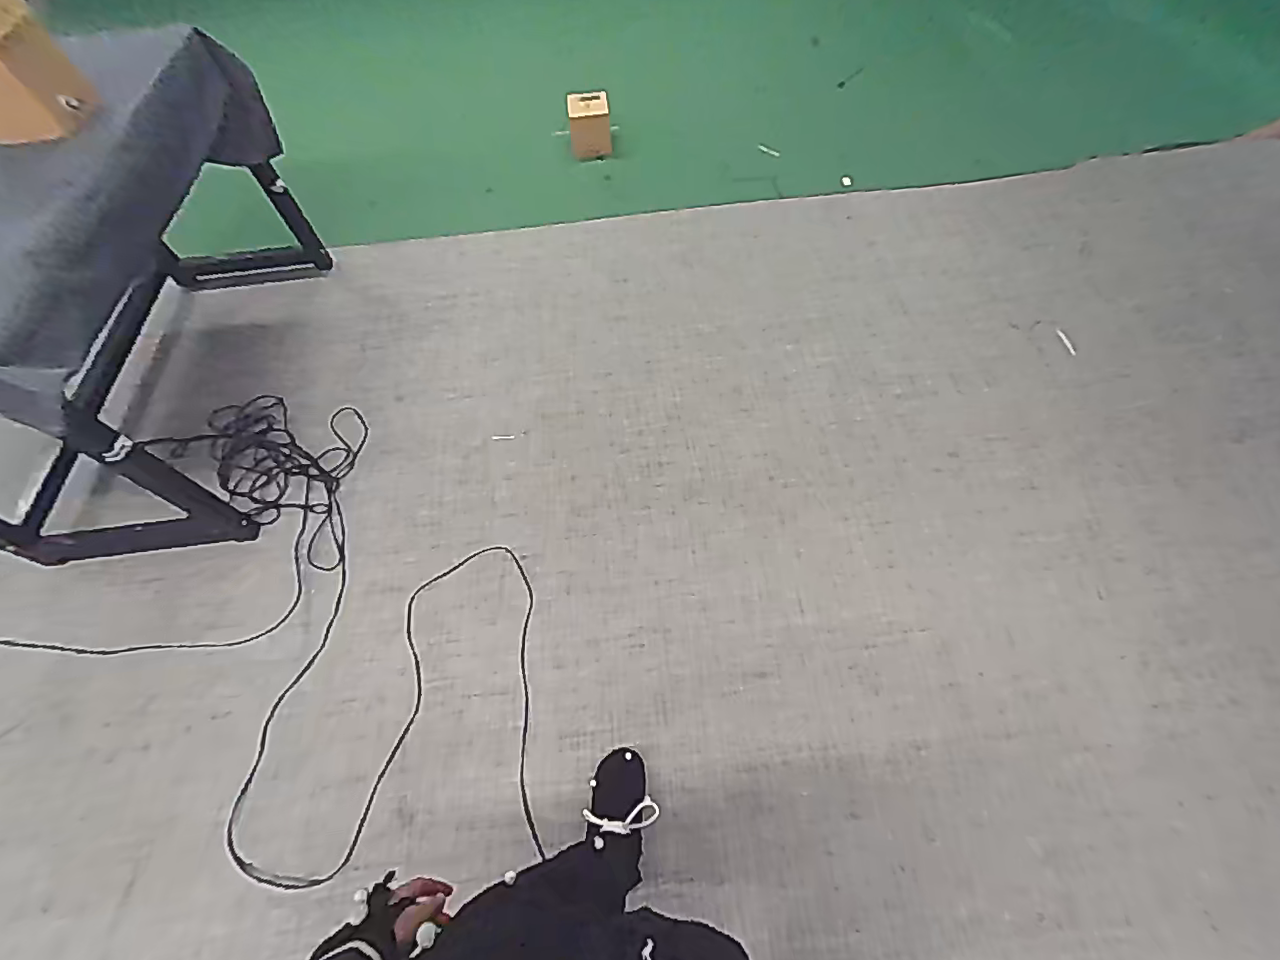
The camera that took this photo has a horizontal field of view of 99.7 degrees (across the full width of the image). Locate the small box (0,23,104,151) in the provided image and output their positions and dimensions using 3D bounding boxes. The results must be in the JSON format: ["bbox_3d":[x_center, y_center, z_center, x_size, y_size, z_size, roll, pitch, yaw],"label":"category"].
[{"bbox_3d":[-1.329,-0.829,1.151,0.179,0.176,0.168,-6,61,-1],"label":"small box"}]

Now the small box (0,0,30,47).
[{"bbox_3d":[-1.329,-0.907,1.008,0.179,0.176,0.168,-8,61,1],"label":"small box"}]
